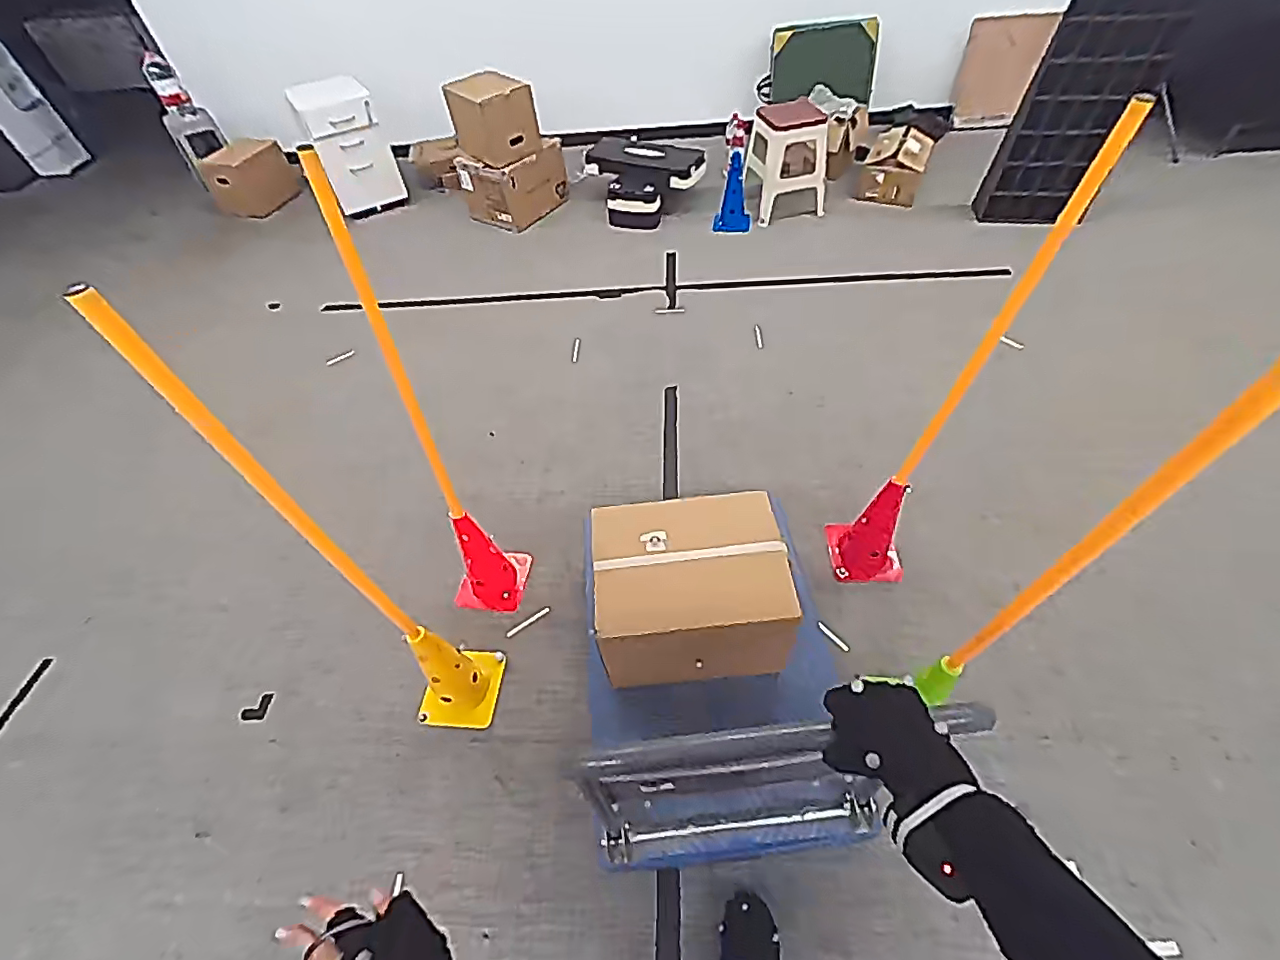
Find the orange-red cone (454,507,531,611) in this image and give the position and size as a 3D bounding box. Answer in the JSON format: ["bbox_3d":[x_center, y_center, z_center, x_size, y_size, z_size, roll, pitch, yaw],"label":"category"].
[{"bbox_3d":[-0.461,0.197,1.546,0.198,0.360,0.199,5,50,8],"label":"orange-red cone"}]

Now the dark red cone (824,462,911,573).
[{"bbox_3d":[0.668,0.093,1.510,0.201,0.394,0.202,0,51,2],"label":"dark red cone"}]

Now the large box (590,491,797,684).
[{"bbox_3d":[0.110,0.258,1.259,0.408,0.320,0.320,-7,51,1],"label":"large box"}]

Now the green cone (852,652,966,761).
[{"bbox_3d":[0.636,0.480,1.220,0.202,0.368,0.200,3,51,5],"label":"green cone"}]
